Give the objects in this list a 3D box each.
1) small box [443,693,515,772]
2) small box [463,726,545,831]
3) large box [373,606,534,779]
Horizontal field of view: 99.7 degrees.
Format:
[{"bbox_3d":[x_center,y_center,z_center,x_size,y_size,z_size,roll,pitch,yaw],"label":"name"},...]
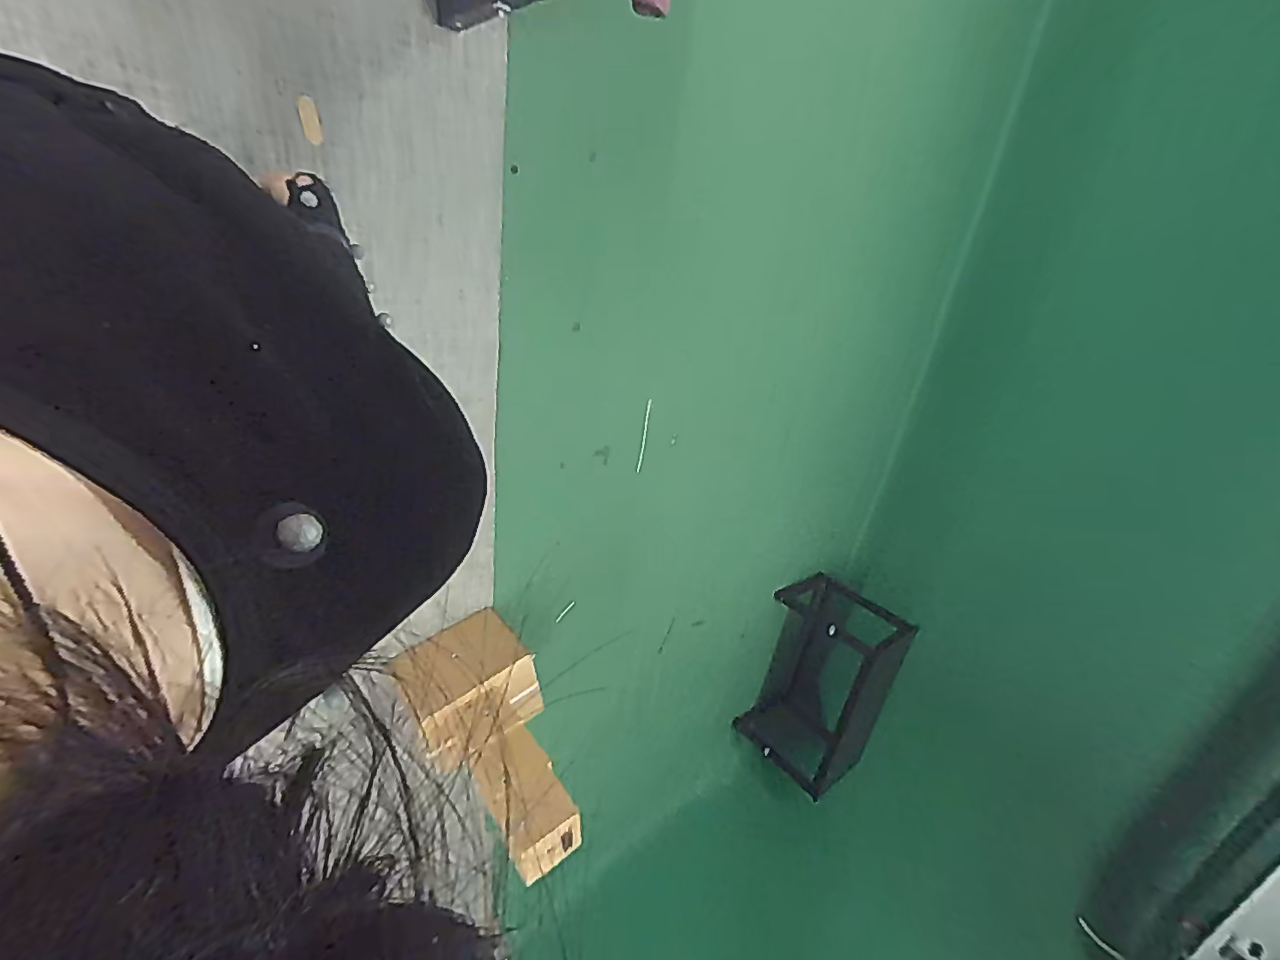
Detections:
[{"bbox_3d":[-0.502,0.801,1.700,0.168,0.176,0.179,-21,126,-35],"label":"small box"},{"bbox_3d":[-0.399,0.871,1.596,0.179,0.176,0.168,-20,126,-36],"label":"small box"},{"bbox_3d":[-0.641,0.722,1.891,0.408,0.320,0.320,-28,131,-33],"label":"large box"}]
